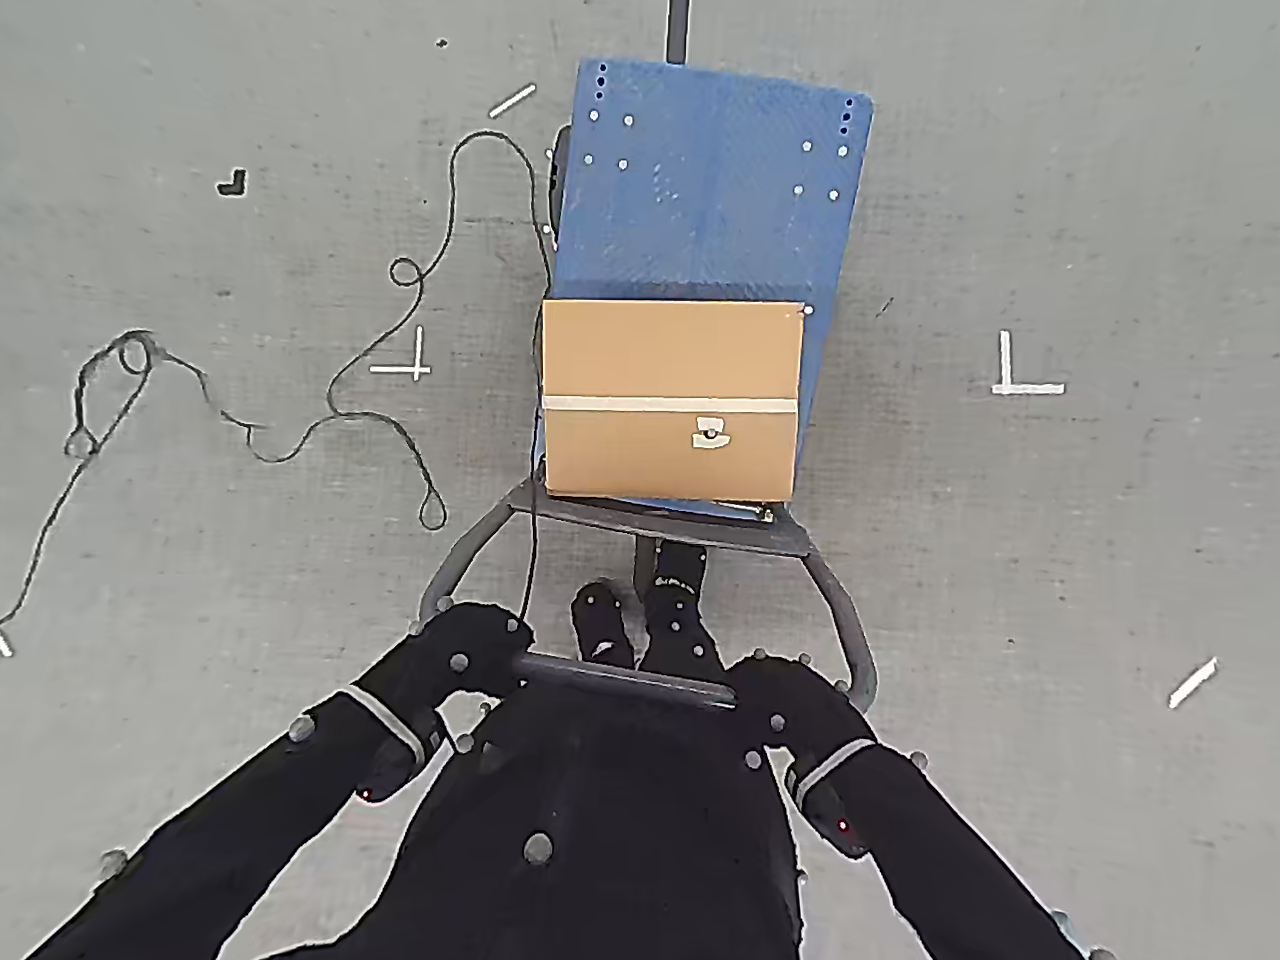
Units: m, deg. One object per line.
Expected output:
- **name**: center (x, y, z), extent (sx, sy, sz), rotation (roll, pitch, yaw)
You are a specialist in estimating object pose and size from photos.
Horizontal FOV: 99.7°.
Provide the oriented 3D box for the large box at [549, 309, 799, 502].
- **large box**: center (0.055, -0.143, 1.027), extent (0.408, 0.320, 0.320), rotation (2, 101, 2)
